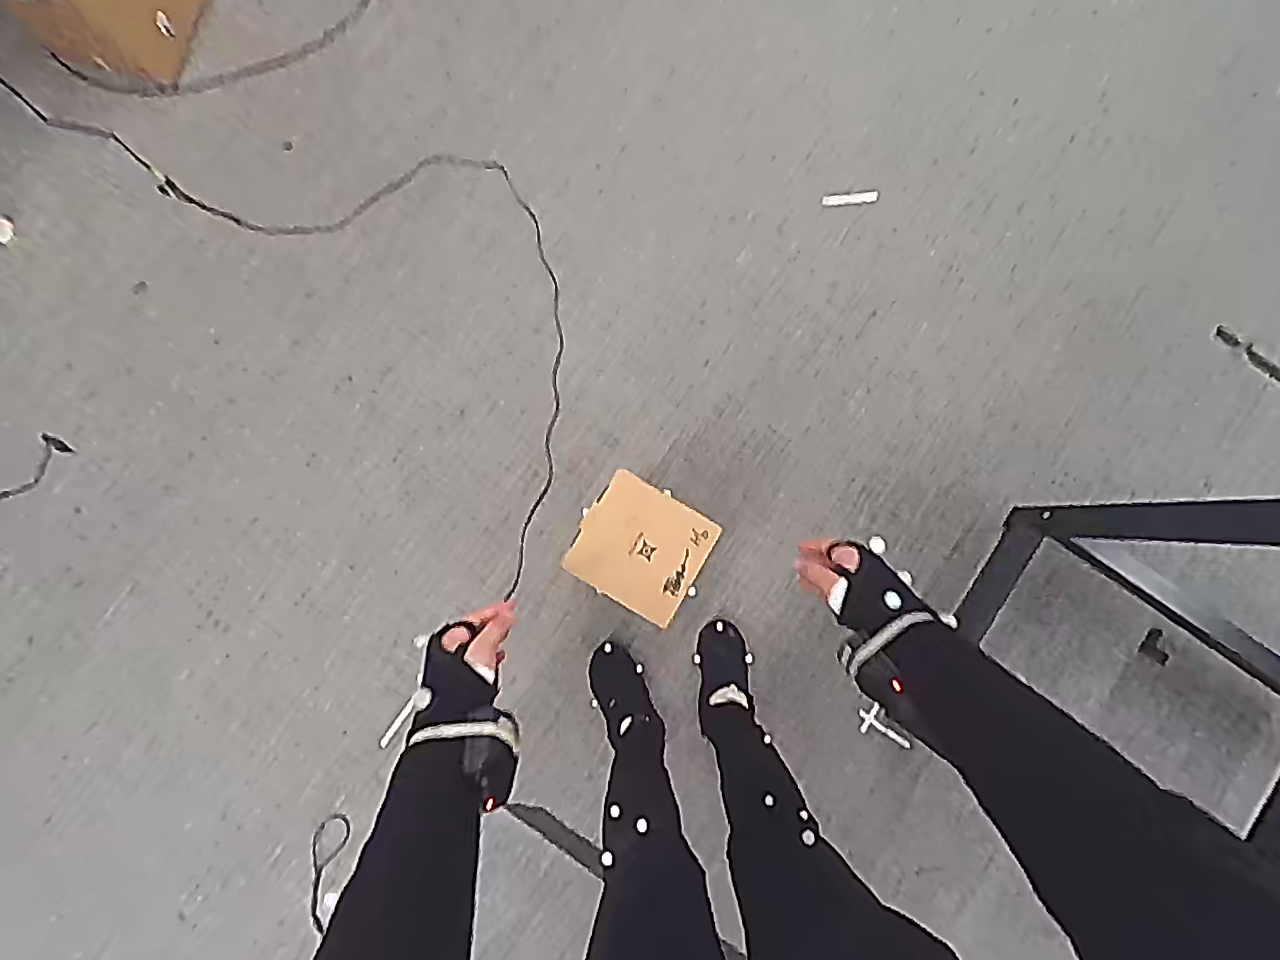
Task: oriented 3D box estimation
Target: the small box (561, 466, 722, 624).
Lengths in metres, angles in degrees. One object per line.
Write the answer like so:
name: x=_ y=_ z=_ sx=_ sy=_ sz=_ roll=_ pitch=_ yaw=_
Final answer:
small box: x=0.000 y=0.099 z=0.843 sx=0.179 sy=0.176 sz=0.168 roll=31 pitch=85 yaw=1
